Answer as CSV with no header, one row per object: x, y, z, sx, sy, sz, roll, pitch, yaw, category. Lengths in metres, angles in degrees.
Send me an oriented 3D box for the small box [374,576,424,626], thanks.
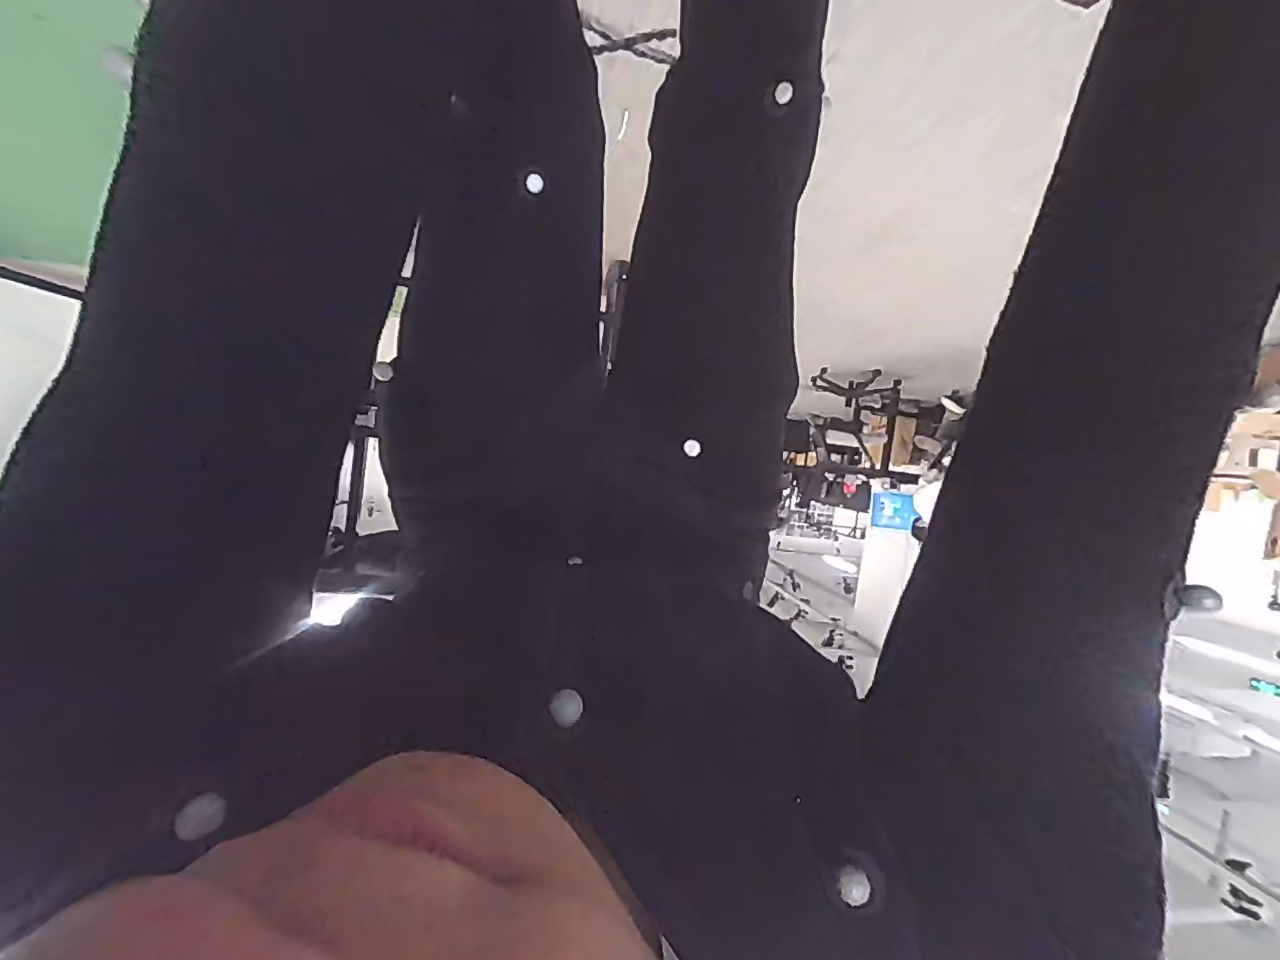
-1.047,0.523,2.354,0.168,0.176,0.179,6,-175,-14,small box
